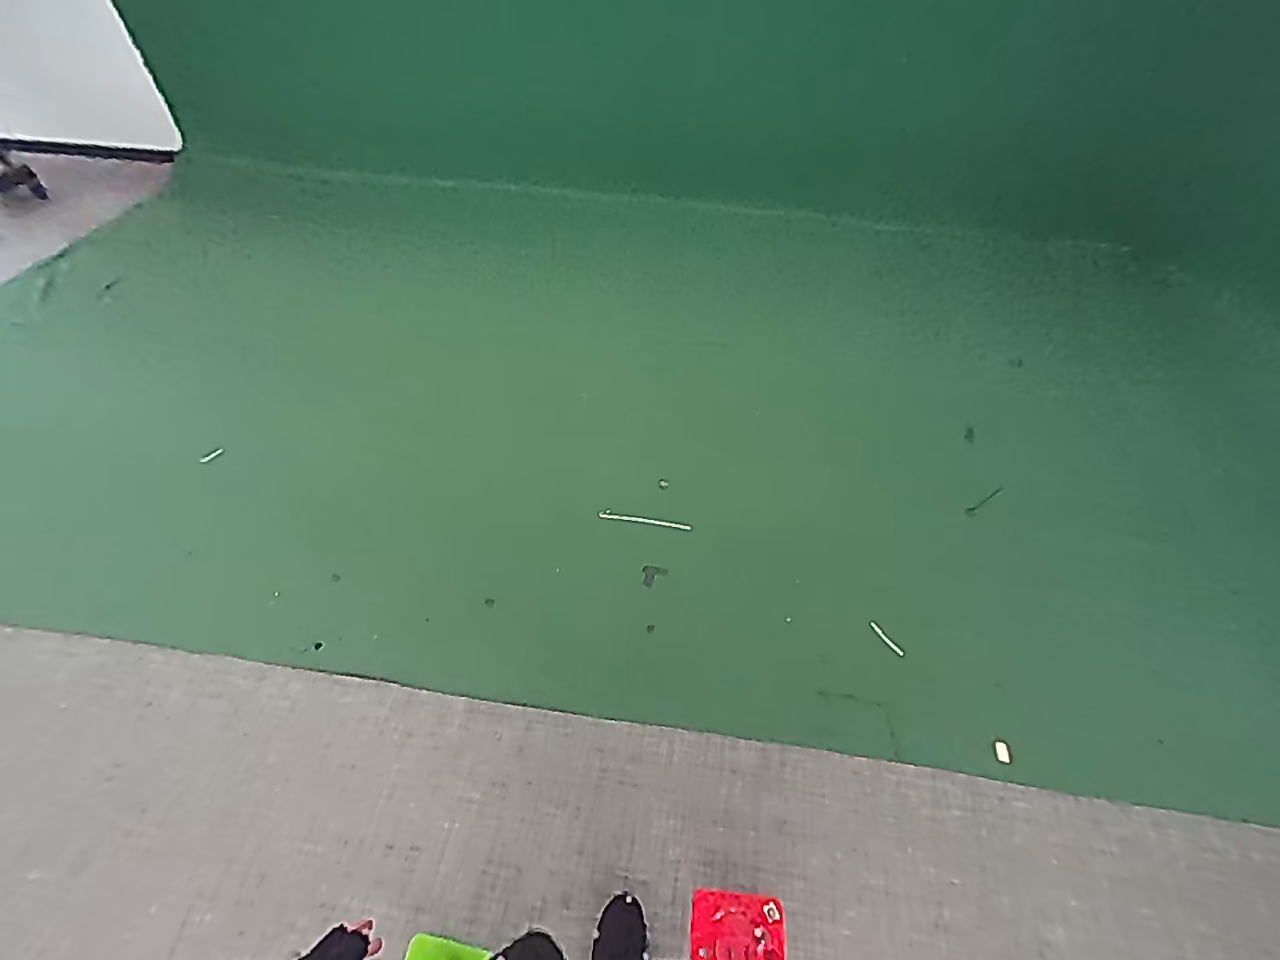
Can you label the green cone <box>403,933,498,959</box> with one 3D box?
[{"bbox_3d":[-0.396,0.932,0.934,0.200,0.368,0.202,9,52,6],"label":"green cone"}]
